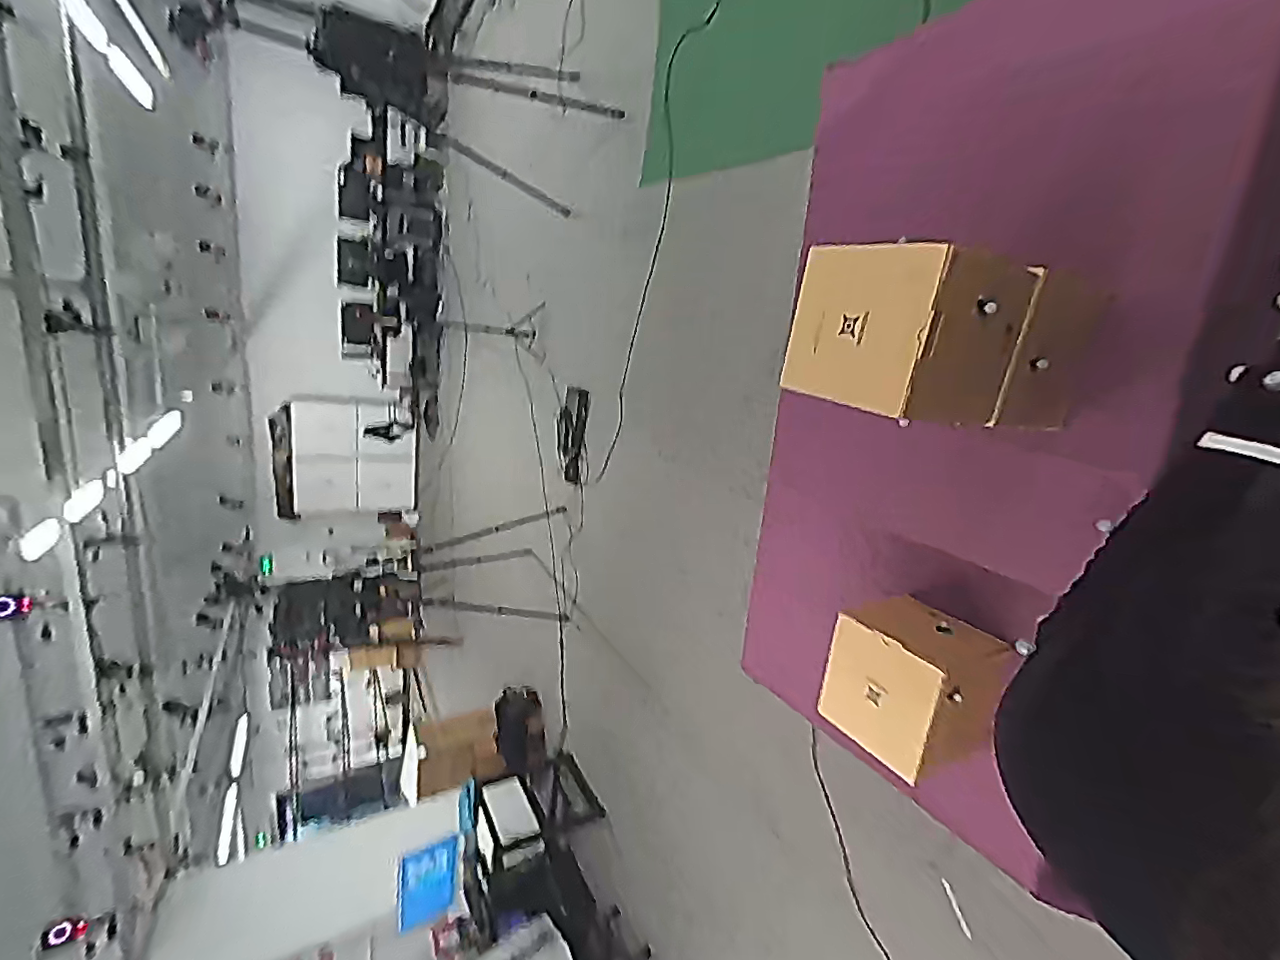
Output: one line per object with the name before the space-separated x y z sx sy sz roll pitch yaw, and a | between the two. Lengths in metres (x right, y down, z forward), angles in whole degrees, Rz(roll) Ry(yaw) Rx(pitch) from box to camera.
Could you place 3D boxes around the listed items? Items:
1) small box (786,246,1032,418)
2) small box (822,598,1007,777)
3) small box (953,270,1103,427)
small box | 0.307 -0.171 0.631 0.179 0.176 0.168 36 121 55
small box | 0.406 0.294 0.806 0.168 0.176 0.179 28 114 57
small box | 0.452 -0.171 0.705 0.168 0.176 0.179 34 120 54
